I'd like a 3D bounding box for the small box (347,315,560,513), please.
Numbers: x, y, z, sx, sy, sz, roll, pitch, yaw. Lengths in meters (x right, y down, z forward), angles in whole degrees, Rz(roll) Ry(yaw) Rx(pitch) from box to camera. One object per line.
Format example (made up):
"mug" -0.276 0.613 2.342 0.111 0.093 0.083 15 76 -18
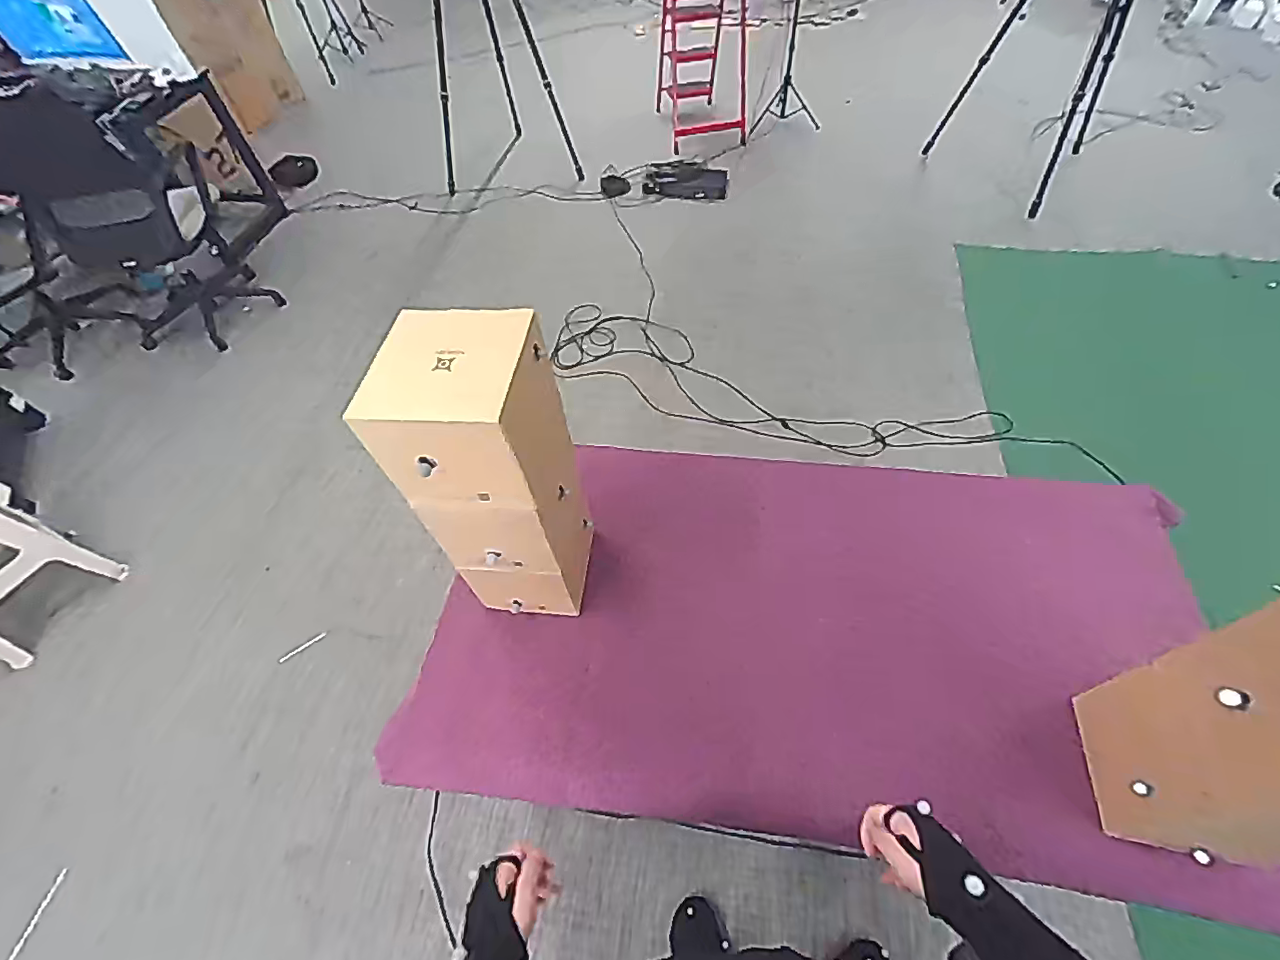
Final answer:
"small box" -0.202 -0.074 0.648 0.168 0.176 0.179 2 54 7

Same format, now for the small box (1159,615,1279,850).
"small box" 0.677 0.260 0.531 0.168 0.176 0.179 7 54 11

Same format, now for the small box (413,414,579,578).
"small box" -0.190 0.021 0.779 0.168 0.176 0.179 2 55 7

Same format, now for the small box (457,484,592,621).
"small box" -0.180 0.118 0.910 0.168 0.176 0.179 3 55 7
